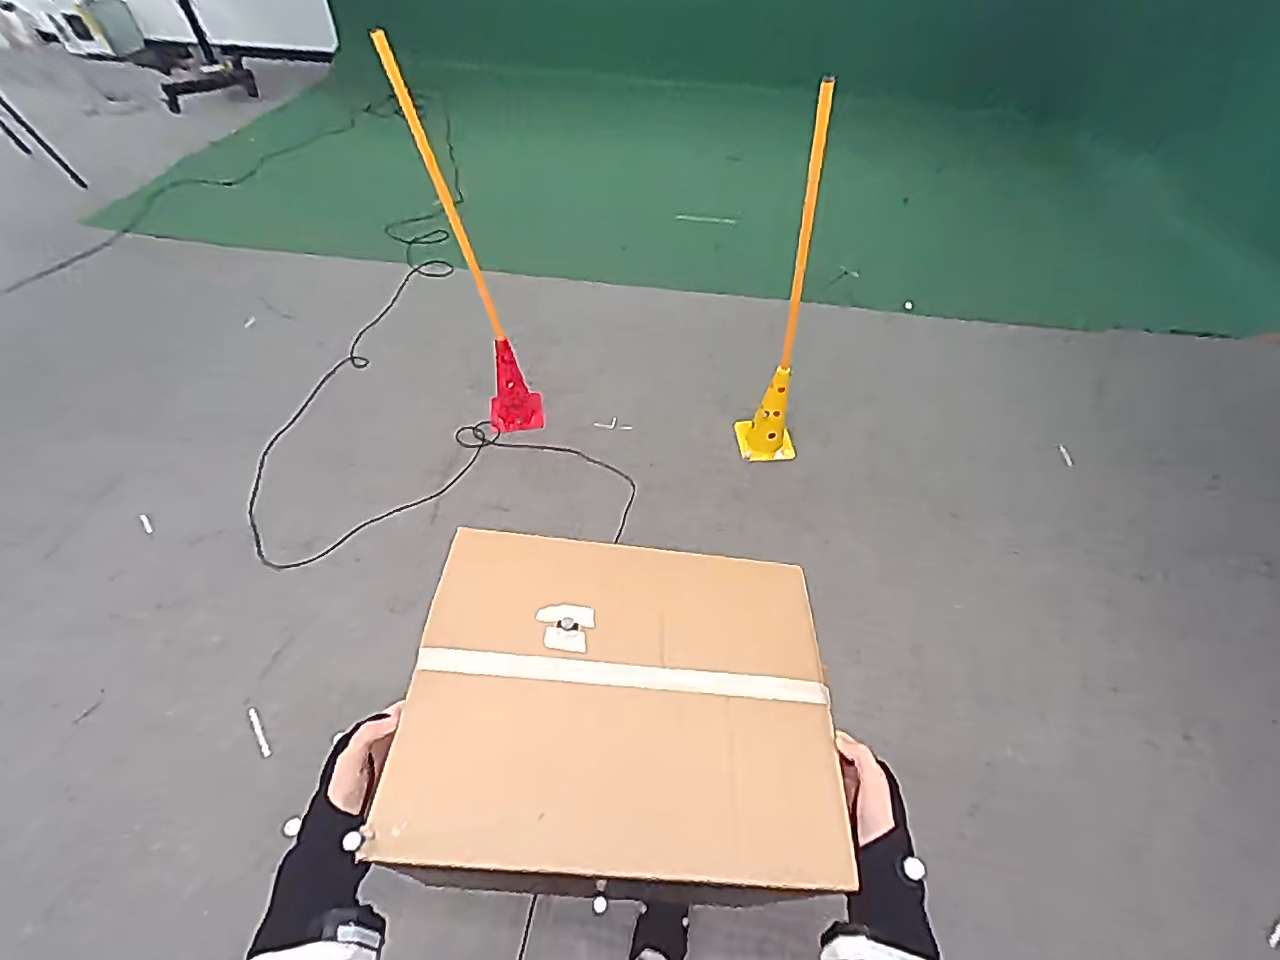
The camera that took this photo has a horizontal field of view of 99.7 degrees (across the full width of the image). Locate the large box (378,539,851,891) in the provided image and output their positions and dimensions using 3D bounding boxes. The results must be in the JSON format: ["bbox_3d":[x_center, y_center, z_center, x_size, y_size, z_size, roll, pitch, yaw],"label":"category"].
[{"bbox_3d":[-0.025,0.297,0.655,0.408,0.320,0.320,6,49,-4],"label":"large box"}]
